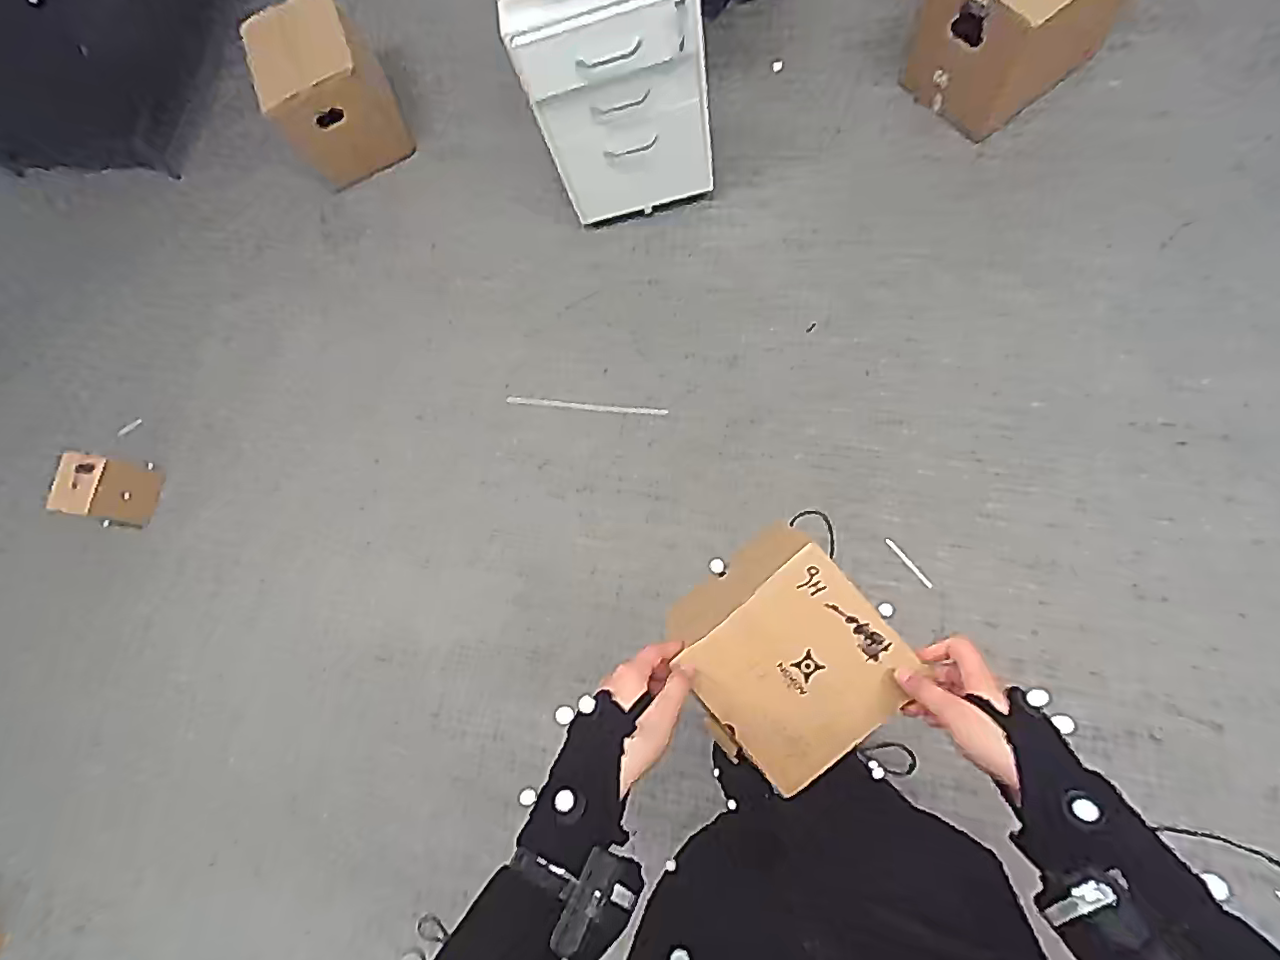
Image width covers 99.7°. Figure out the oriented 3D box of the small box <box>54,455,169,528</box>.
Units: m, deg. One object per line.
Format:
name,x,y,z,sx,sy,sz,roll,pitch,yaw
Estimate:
small box,-1.608,0.039,1.657,0.168,0.176,0.179,8,78,13
